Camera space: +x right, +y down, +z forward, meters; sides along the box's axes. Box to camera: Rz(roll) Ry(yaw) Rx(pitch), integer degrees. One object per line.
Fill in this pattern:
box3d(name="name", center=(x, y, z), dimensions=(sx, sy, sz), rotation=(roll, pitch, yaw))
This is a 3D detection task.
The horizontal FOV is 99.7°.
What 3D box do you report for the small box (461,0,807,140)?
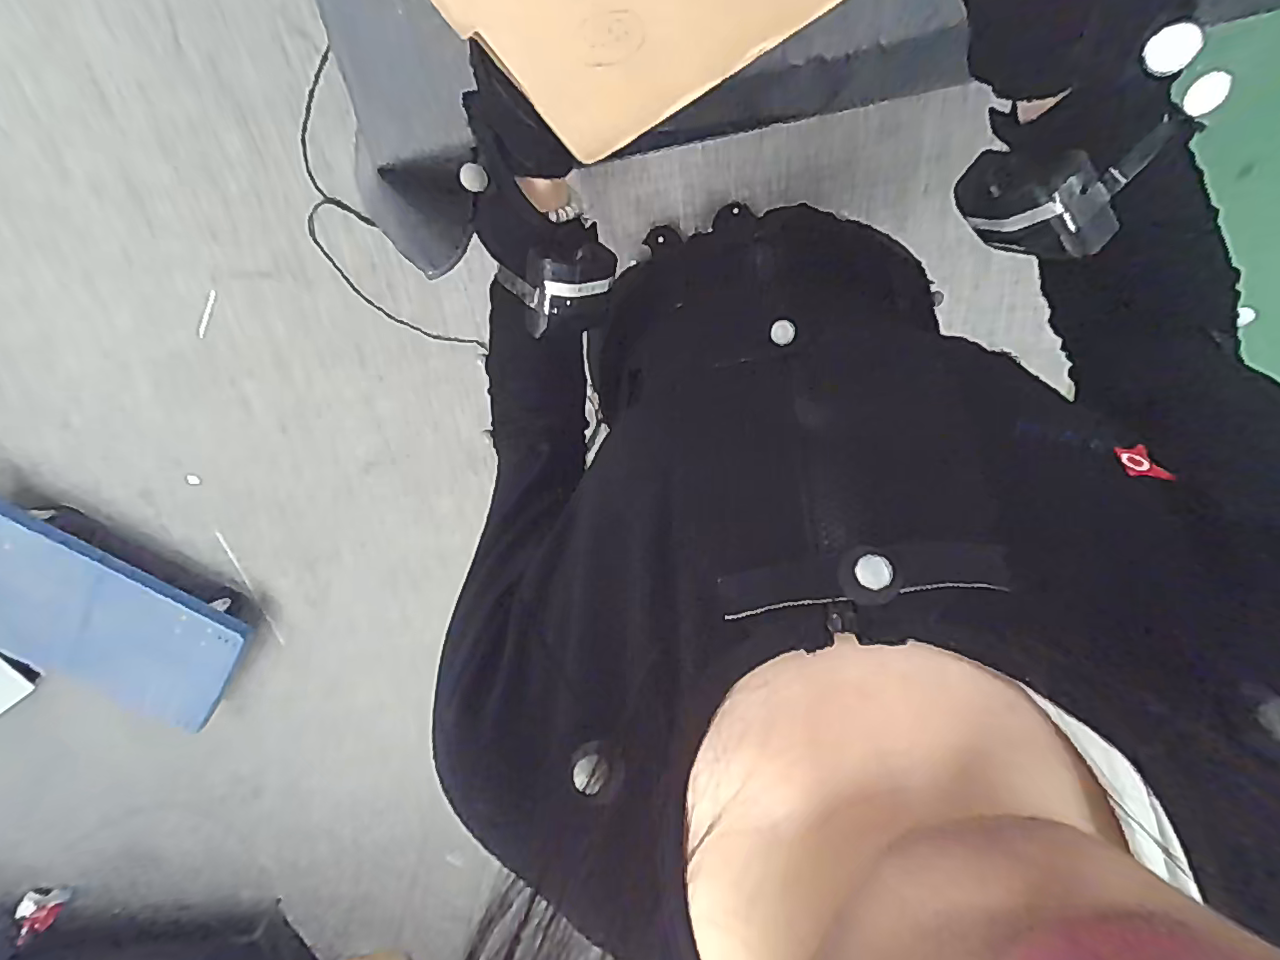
box3d(name="small box", center=(0.004, -0.260, 0.157), dimensions=(0.179, 0.176, 0.168), rotation=(-13, 152, 31))
